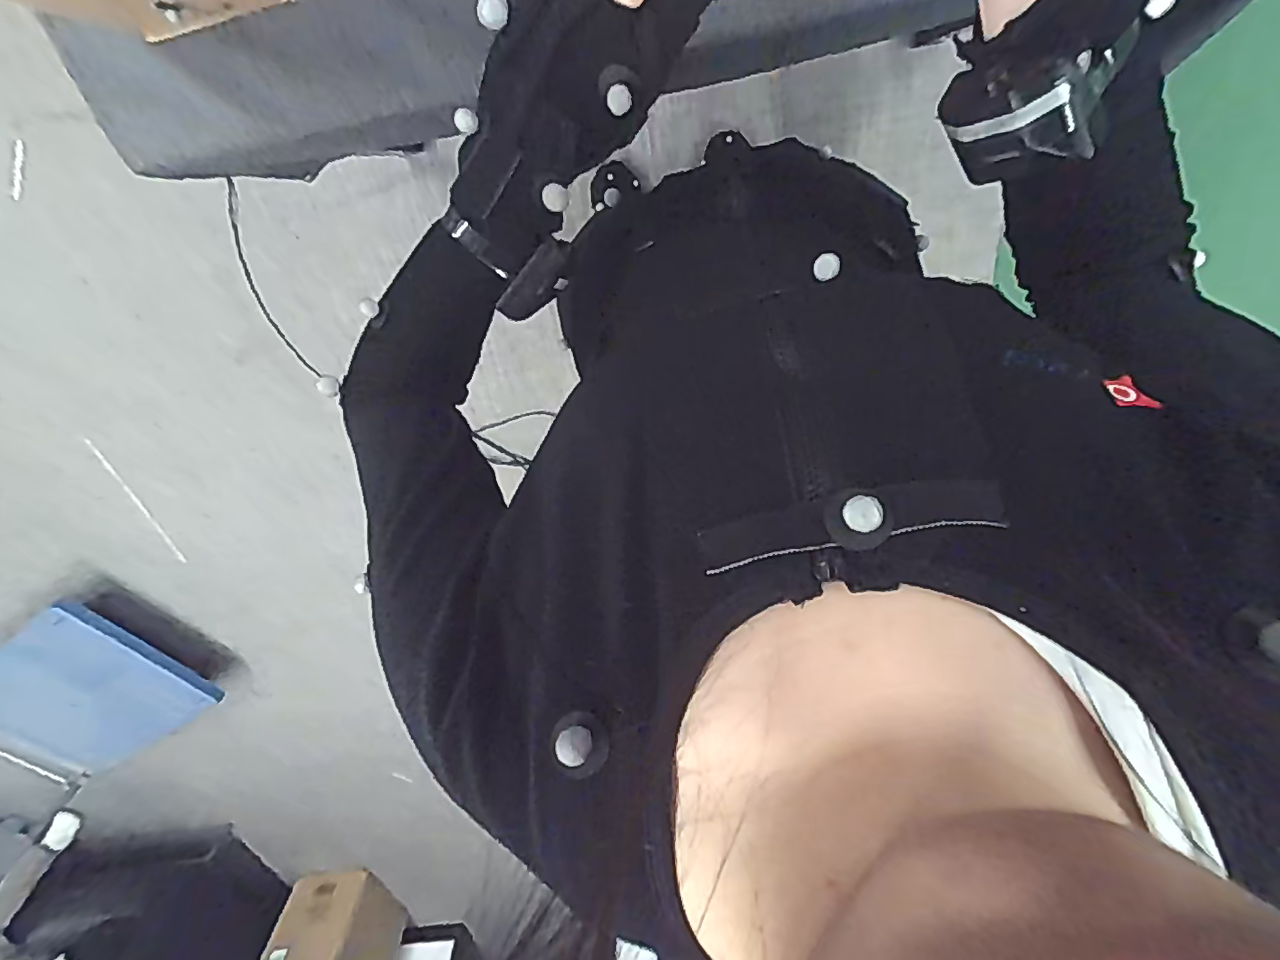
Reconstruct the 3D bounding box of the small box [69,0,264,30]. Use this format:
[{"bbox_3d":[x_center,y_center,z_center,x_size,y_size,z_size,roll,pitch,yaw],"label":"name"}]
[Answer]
[{"bbox_3d":[-0.419,-0.482,0.405,0.168,0.176,0.179,-11,120,7],"label":"small box"}]
